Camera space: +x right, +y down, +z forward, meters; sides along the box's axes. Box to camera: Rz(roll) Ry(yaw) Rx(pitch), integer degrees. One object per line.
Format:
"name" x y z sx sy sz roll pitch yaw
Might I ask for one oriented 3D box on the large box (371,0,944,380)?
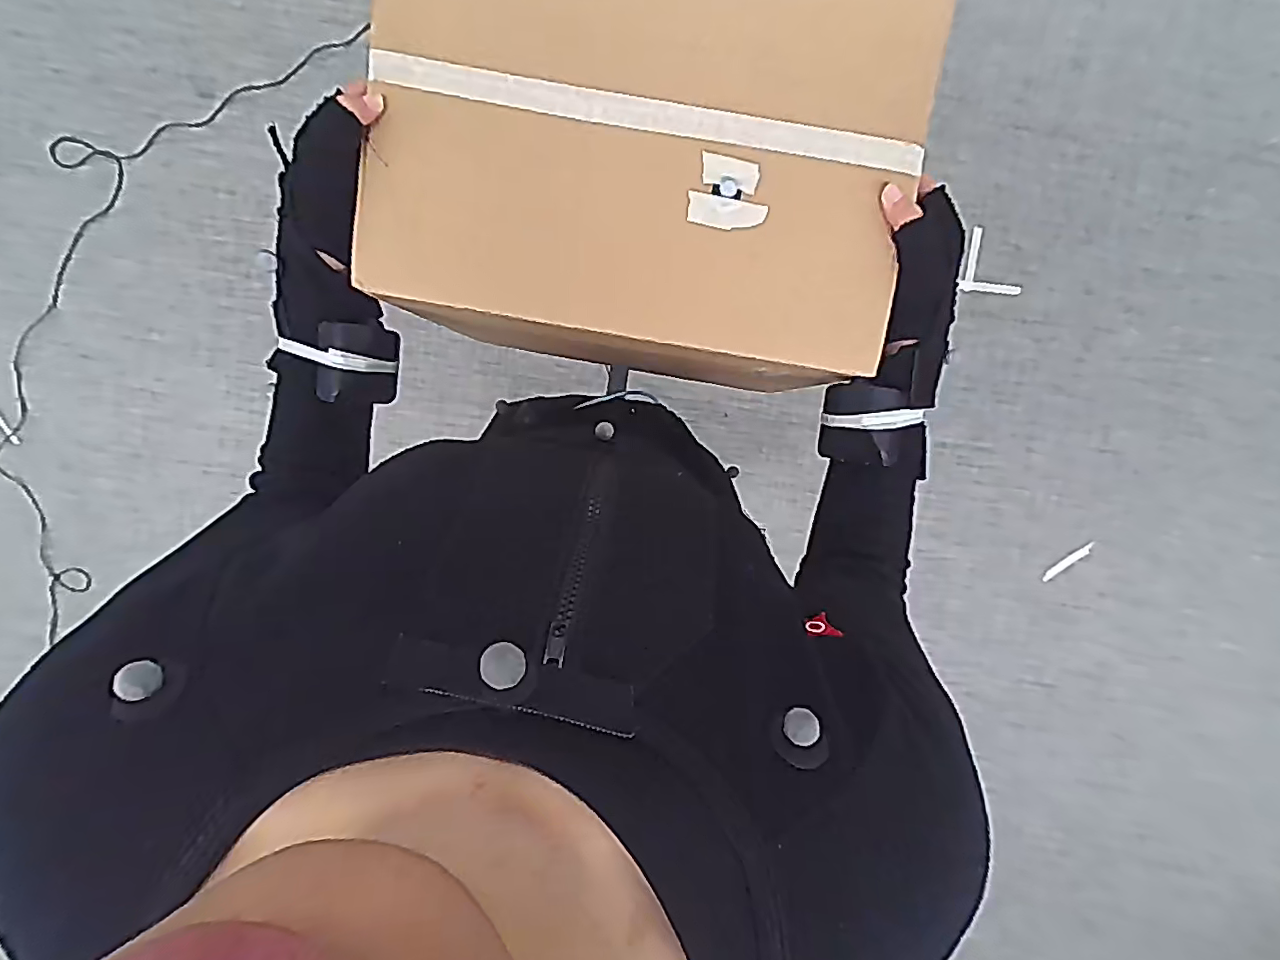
"large box" 0.006 -0.291 0.551 0.408 0.320 0.320 9 98 -2
